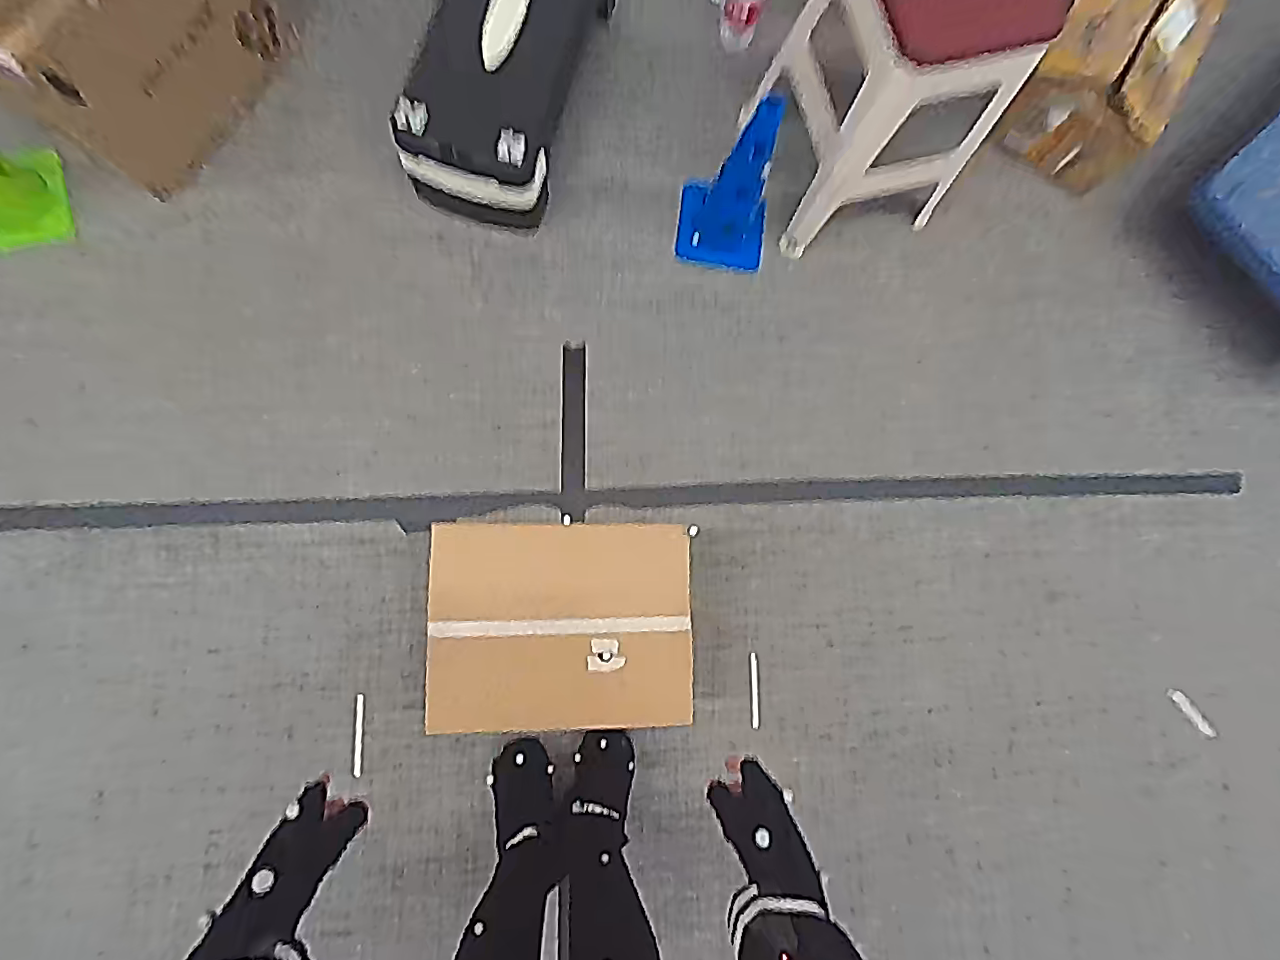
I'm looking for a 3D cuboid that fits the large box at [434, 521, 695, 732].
[{"bbox_3d":[-0.131,0.241,0.988,0.408,0.320,0.320,0,84,-6],"label":"large box"}]
